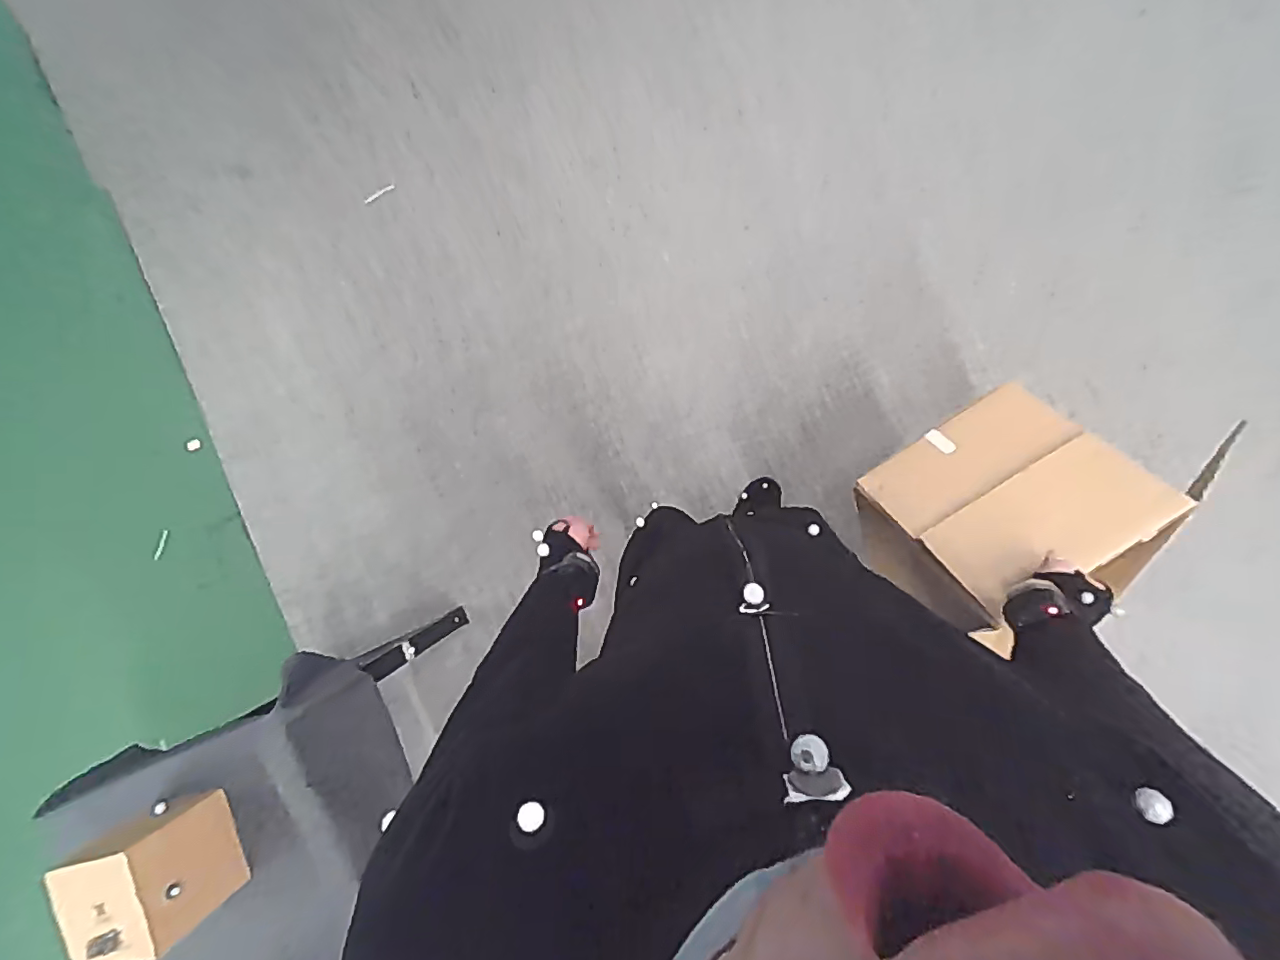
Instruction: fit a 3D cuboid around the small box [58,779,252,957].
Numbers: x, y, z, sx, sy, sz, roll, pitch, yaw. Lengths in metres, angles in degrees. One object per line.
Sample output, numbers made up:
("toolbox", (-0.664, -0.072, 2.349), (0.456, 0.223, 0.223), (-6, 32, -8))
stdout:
("small box", (-0.823, 0.661, 0.936), (0.168, 0.176, 0.179), (-18, 90, 10))
